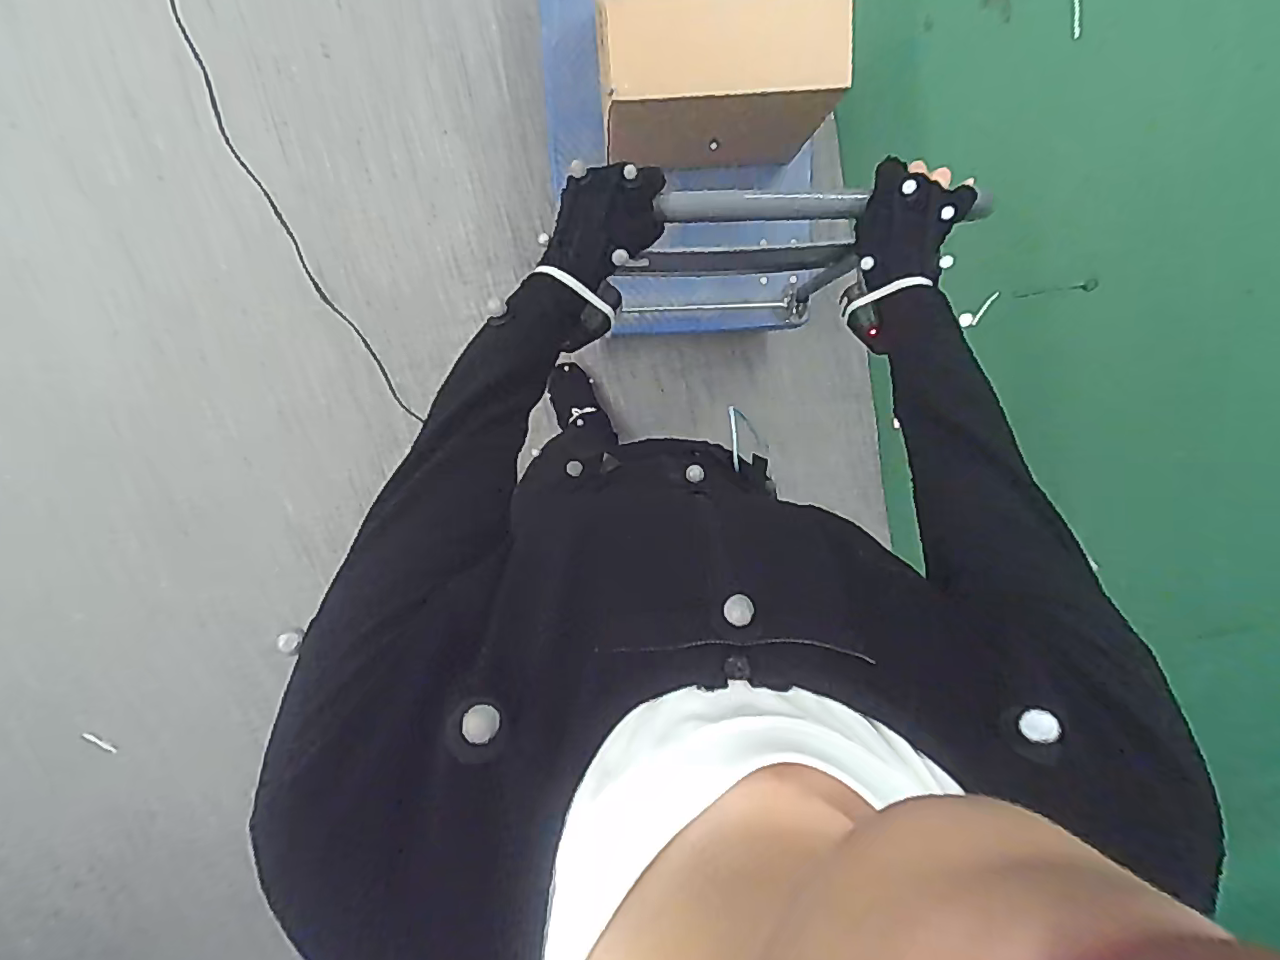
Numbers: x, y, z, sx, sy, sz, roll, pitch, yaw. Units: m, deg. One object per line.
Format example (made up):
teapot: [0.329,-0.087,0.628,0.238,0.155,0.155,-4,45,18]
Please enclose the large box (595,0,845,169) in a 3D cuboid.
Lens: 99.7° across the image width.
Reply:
large box: [0.129,-0.821,1.021,0.408,0.320,0.320,-6,100,-2]
